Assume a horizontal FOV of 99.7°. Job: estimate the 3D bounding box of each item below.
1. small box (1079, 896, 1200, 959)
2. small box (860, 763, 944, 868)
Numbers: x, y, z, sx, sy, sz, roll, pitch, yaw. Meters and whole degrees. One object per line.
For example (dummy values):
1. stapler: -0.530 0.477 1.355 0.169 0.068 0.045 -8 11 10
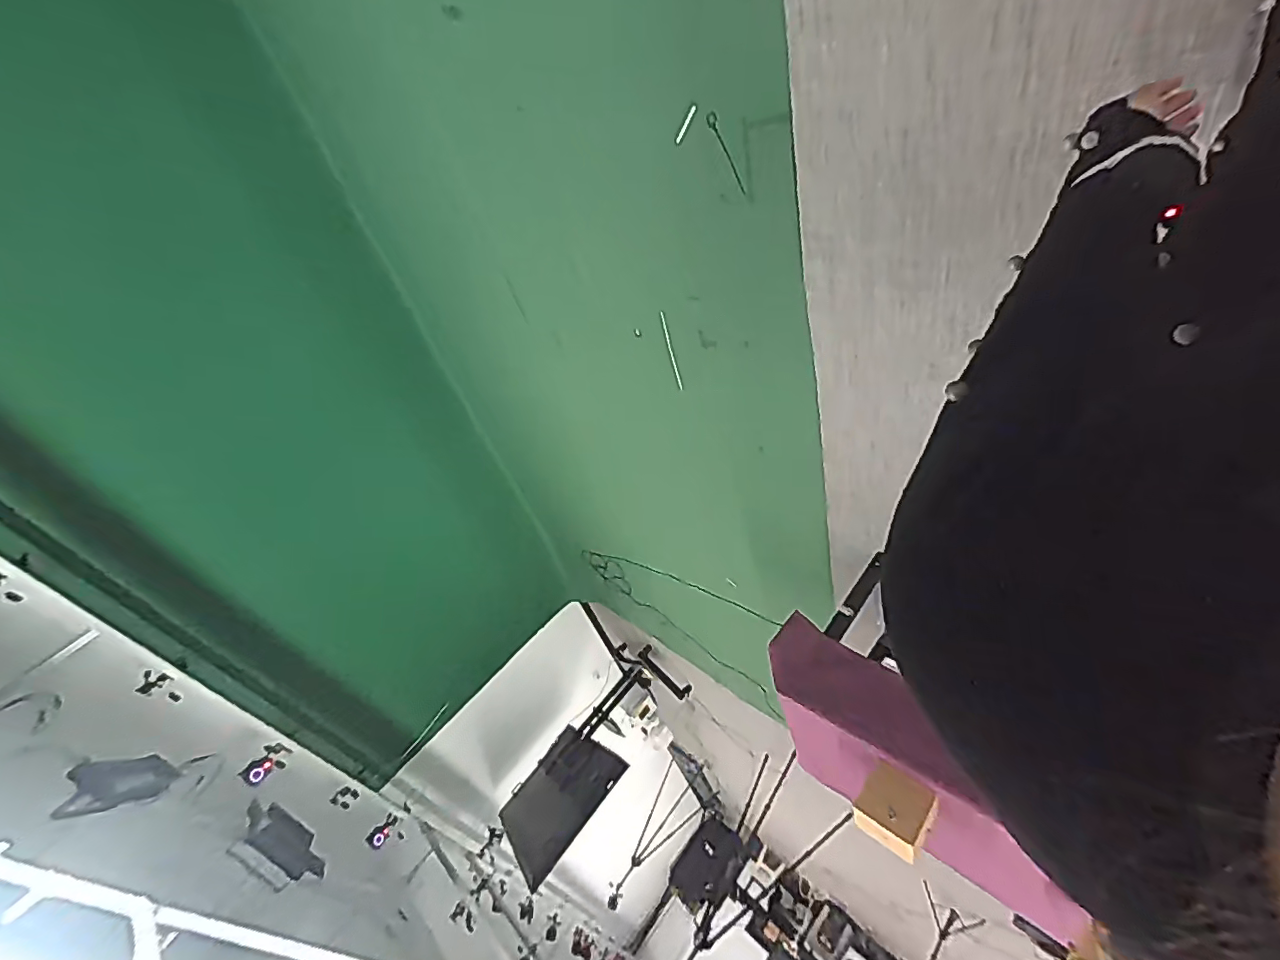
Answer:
1. small box: 1.136 1.110 1.238 0.168 0.176 0.179 20 144 42
2. small box: 0.769 0.975 1.583 0.179 0.176 0.168 20 144 41
